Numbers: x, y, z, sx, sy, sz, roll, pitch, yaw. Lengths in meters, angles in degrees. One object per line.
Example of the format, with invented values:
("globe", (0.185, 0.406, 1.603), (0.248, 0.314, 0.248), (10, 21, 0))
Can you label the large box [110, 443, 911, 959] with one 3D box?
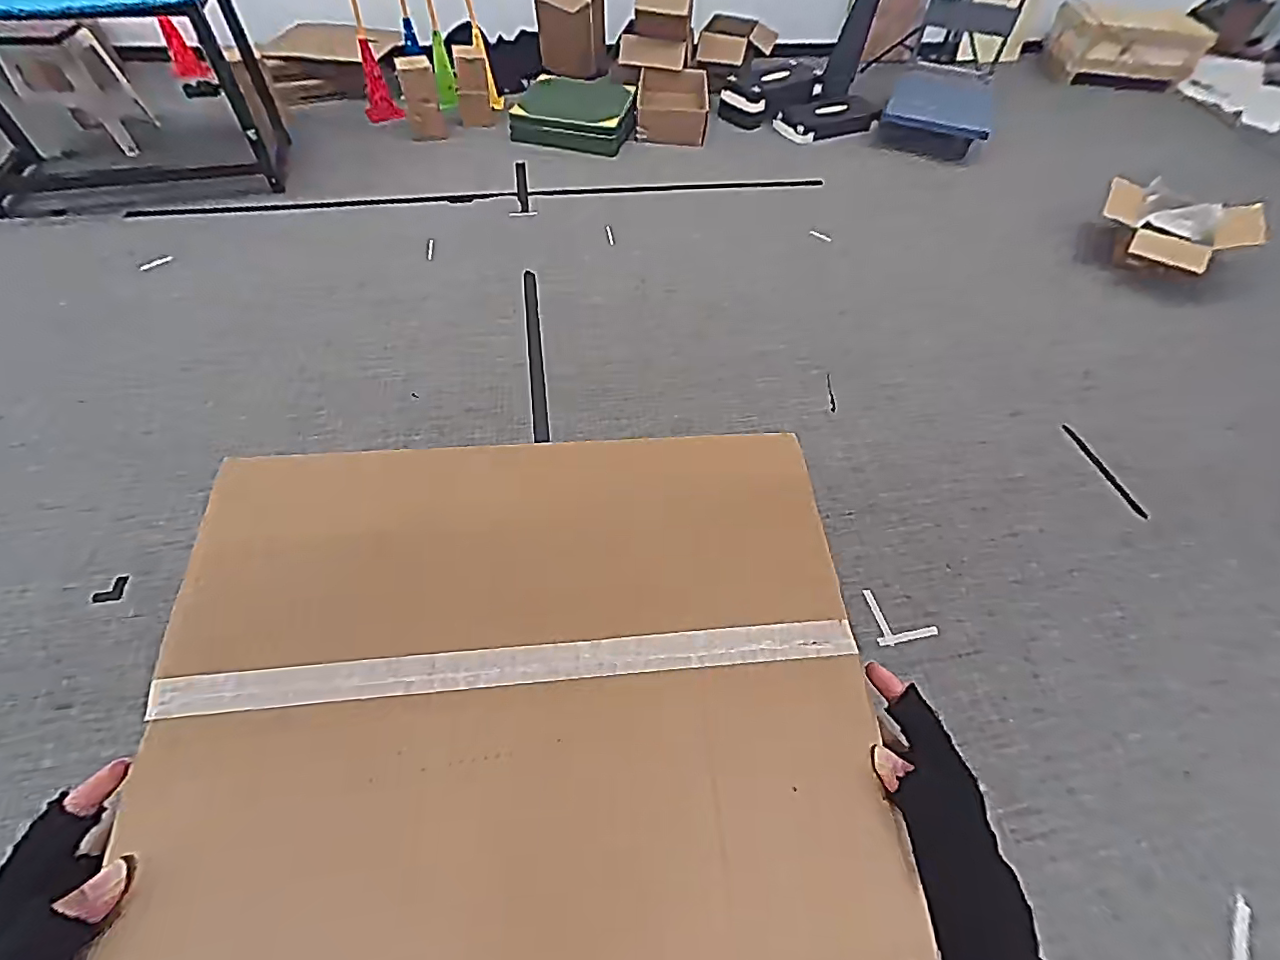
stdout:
("large box", (-0.078, 0.189, 0.462), (0.408, 0.320, 0.320), (-3, 62, -6))
